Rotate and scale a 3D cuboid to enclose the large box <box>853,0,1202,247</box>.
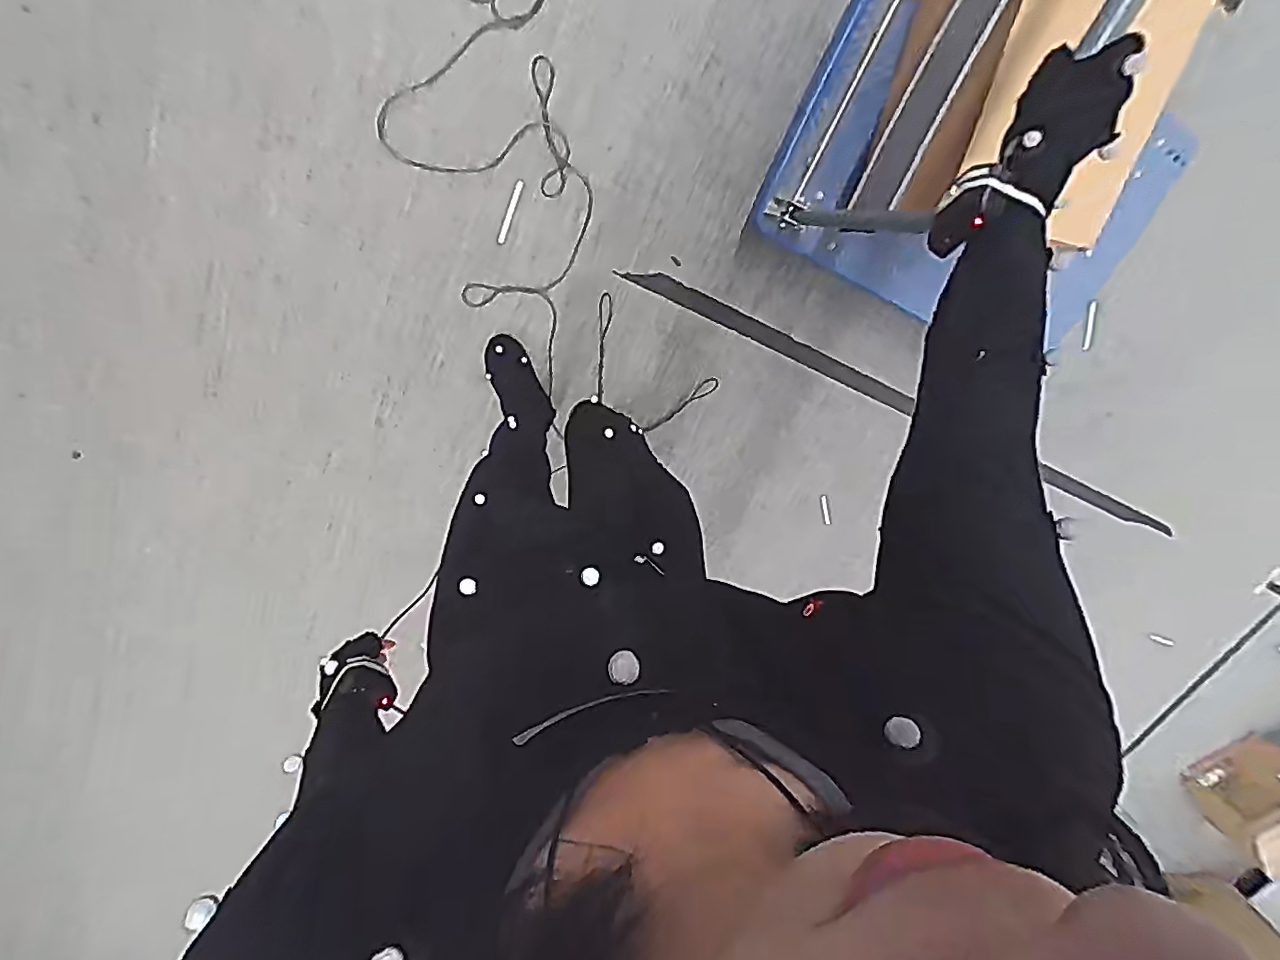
[{"bbox_3d":[0.652,-0.670,0.976,0.320,0.320,0.408,6,116,-11],"label":"large box"}]
